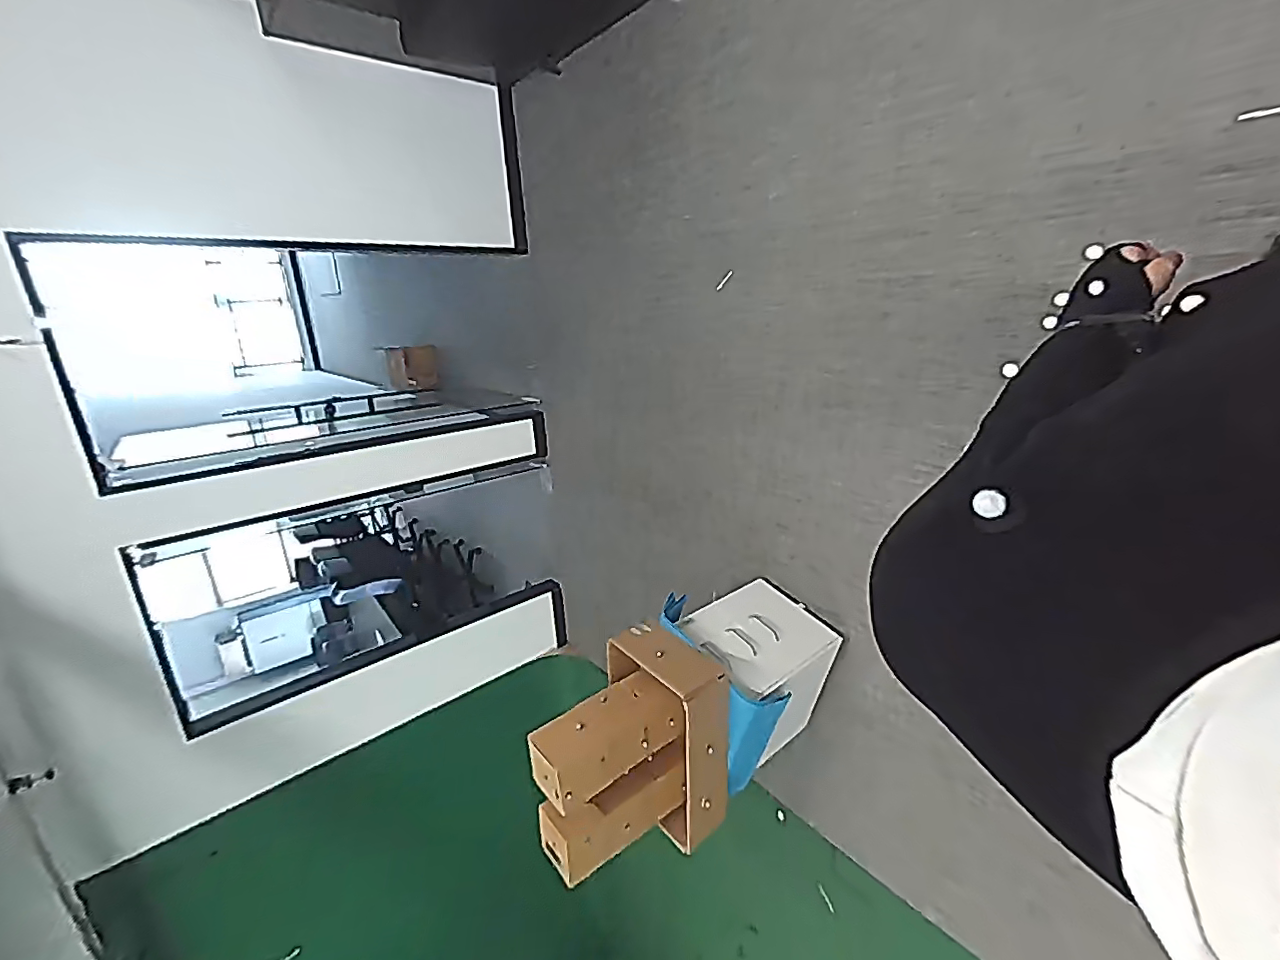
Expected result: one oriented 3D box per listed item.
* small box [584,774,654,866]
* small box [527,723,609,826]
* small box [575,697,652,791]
[{"bbox_3d":[-0.065,1.061,1.725,0.168,0.176,0.179,17,114,49],"label":"small box"},{"bbox_3d":[-0.207,0.835,1.559,0.179,0.176,0.168,18,118,51],"label":"small box"},{"bbox_3d":[-0.080,0.795,1.653,0.179,0.176,0.168,18,118,50],"label":"small box"}]
